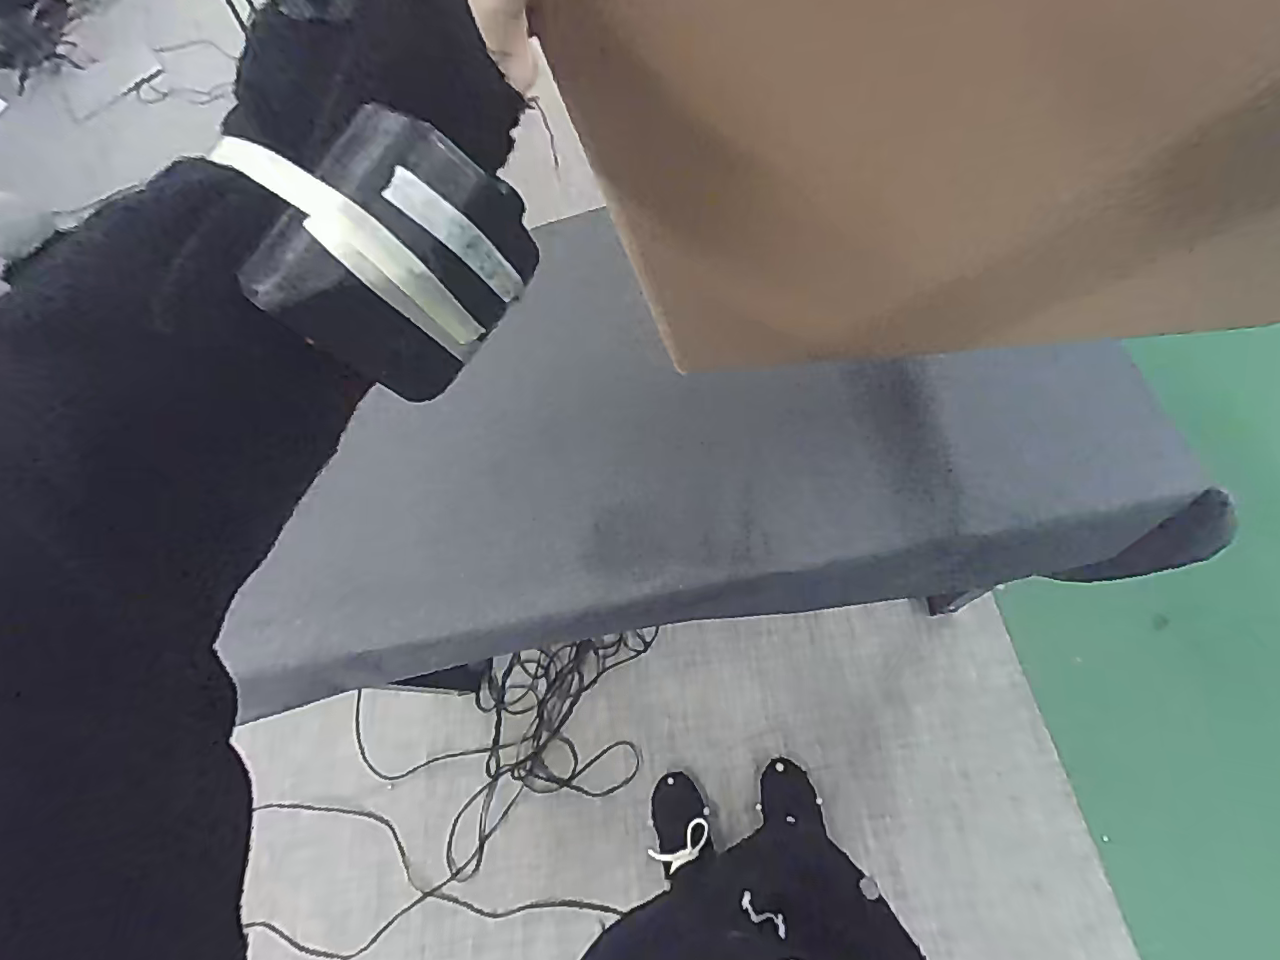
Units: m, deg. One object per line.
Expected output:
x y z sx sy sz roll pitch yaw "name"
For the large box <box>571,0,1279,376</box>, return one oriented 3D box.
0.199 -0.280 0.318 0.408 0.320 0.320 -2 73 14 "large box"
